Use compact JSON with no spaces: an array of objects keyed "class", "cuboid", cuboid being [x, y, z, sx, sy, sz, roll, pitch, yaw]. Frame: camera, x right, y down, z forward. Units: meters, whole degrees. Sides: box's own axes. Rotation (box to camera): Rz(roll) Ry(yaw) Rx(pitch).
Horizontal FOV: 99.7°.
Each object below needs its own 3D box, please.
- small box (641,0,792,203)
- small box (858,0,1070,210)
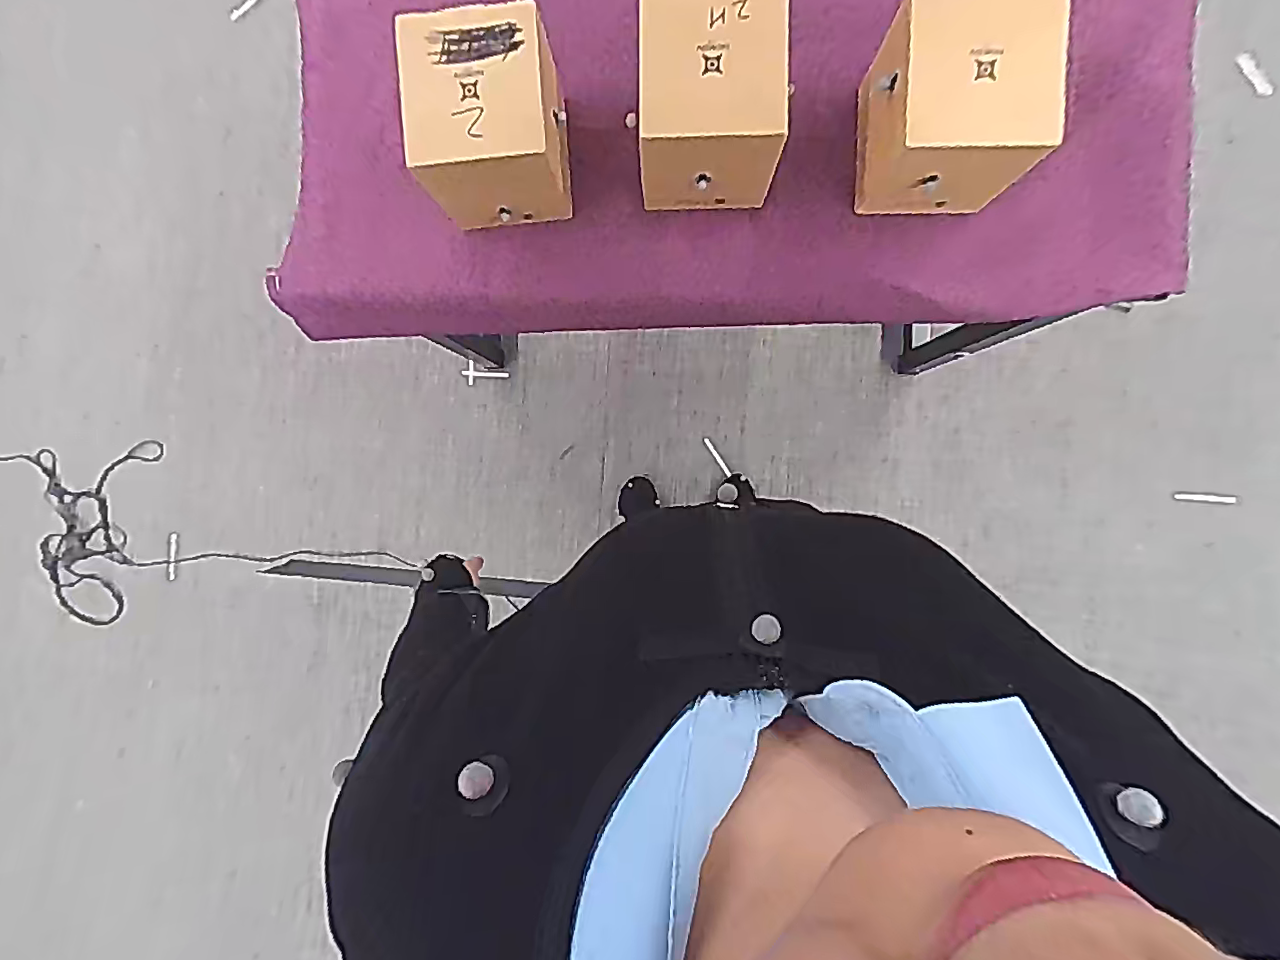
[{"class":"small box","cuboid":[0.089,-0.470,0.678,0.168,0.176,0.179,1,90,2]},{"class":"small box","cuboid":[0.379,-0.452,0.663,0.168,0.176,0.179,2,92,4]}]
